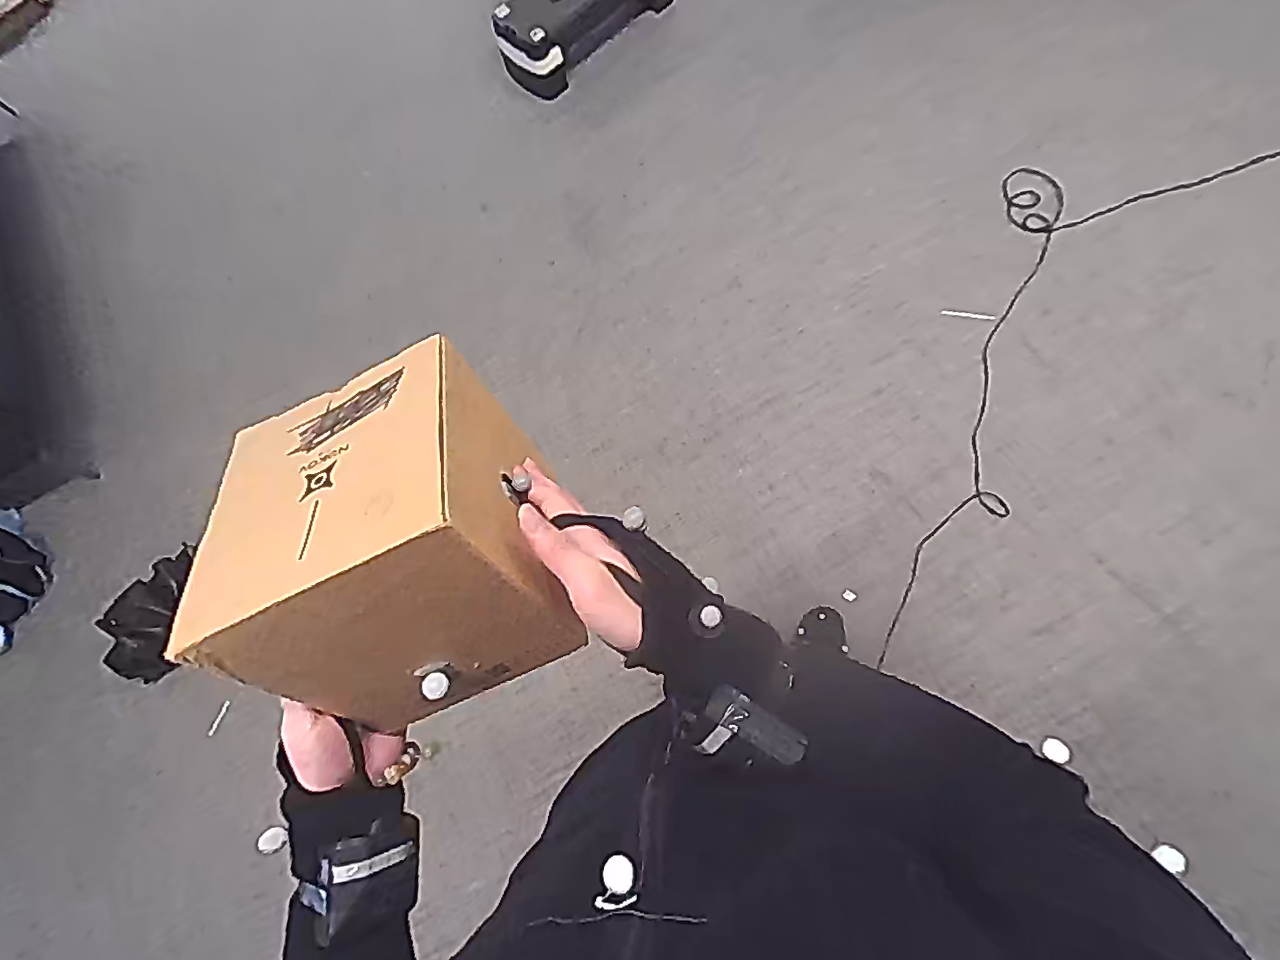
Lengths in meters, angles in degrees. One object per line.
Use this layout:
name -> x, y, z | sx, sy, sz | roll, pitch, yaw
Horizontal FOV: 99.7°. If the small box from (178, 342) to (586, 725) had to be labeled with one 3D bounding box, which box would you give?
small box -> -0.155, 0.043, 0.382 | 0.168, 0.176, 0.179 | -25, 48, 5
